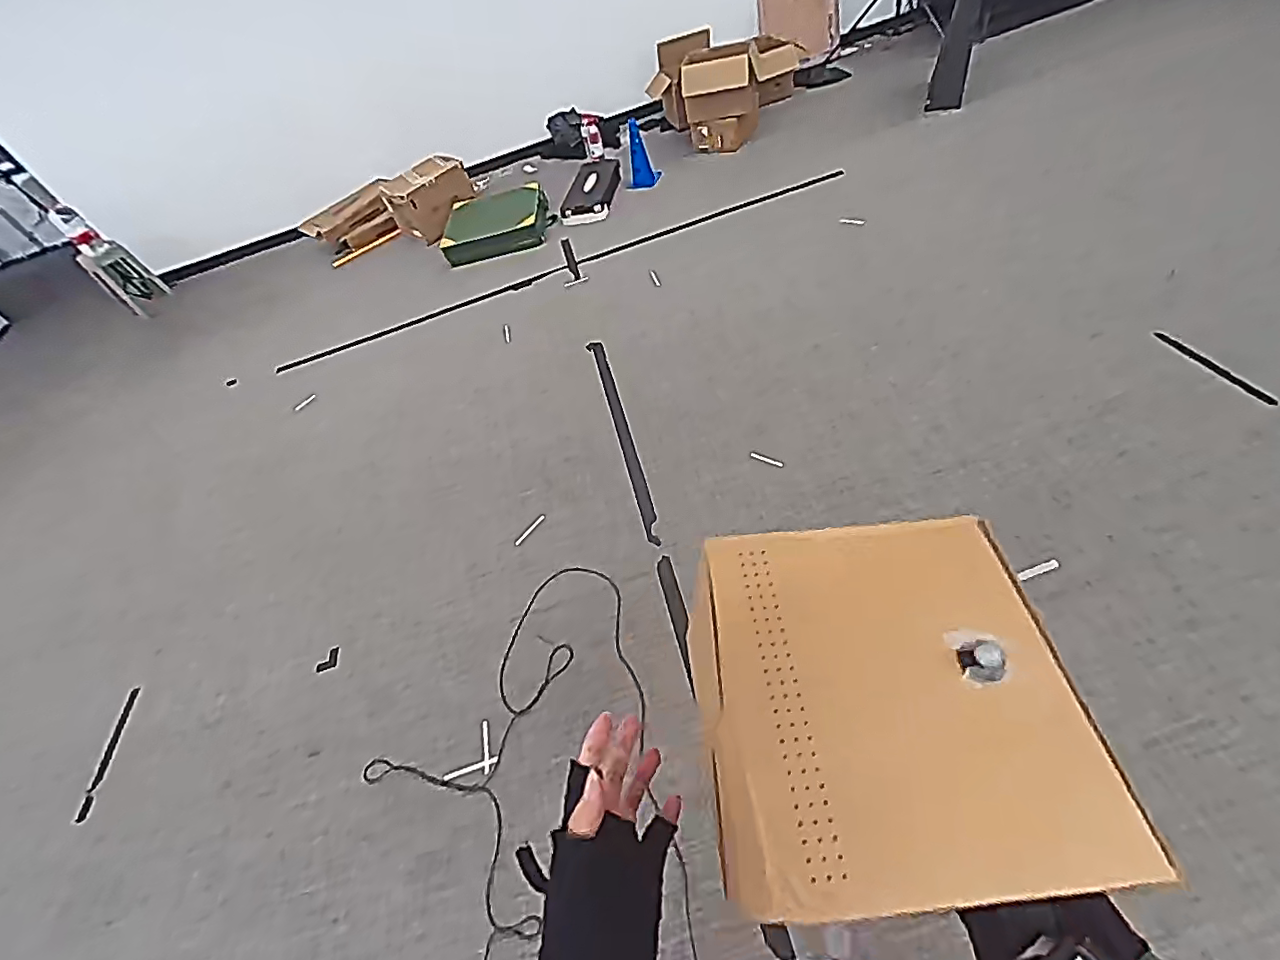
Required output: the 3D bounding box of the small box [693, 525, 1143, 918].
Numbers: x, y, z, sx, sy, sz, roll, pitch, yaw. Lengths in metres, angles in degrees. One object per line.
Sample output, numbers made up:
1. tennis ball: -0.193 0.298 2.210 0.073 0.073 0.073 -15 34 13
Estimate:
1. small box: 0.125 0.149 0.338 0.176 0.168 0.179 -5 53 -2
